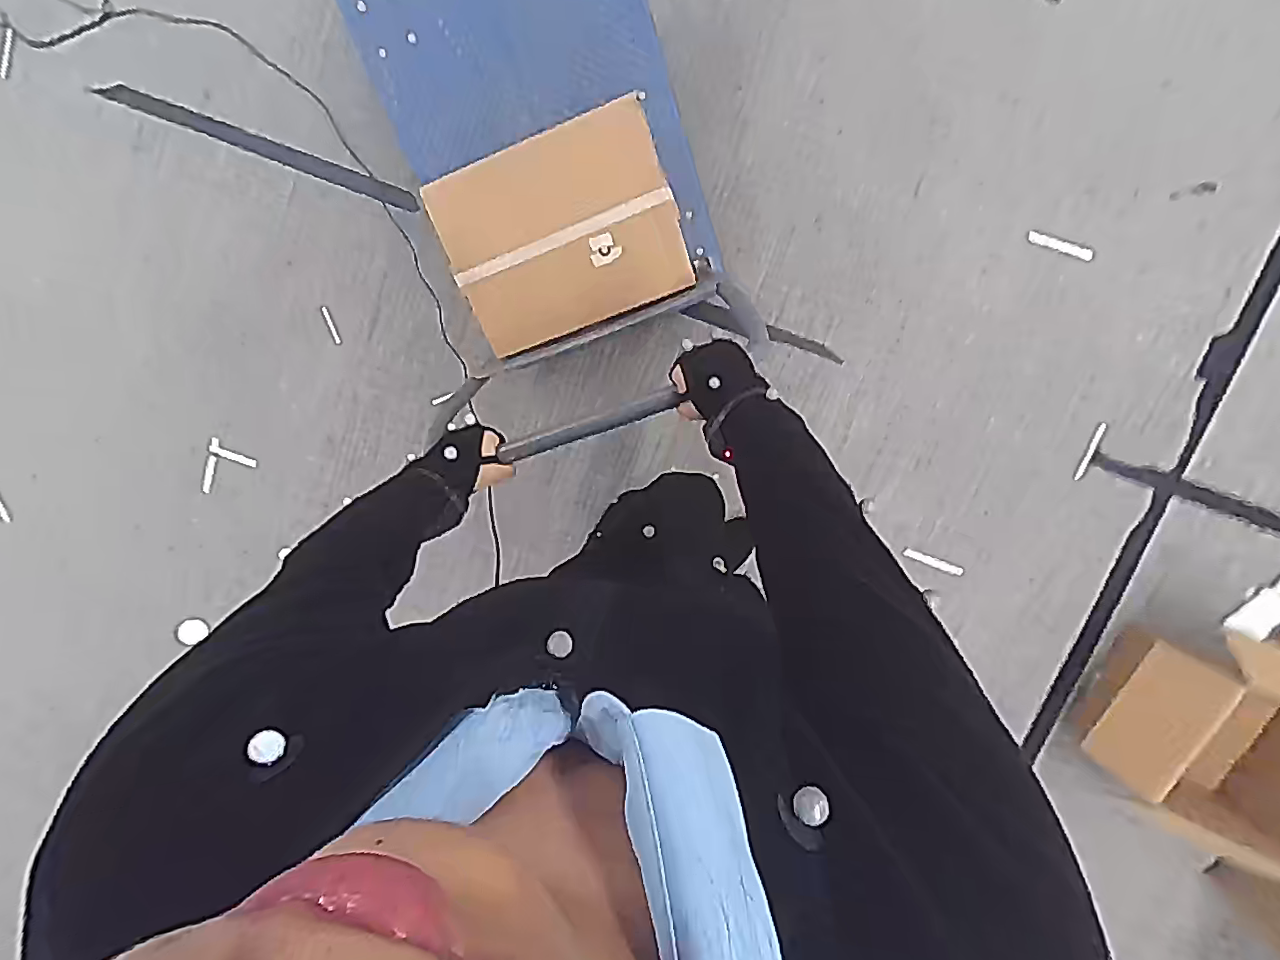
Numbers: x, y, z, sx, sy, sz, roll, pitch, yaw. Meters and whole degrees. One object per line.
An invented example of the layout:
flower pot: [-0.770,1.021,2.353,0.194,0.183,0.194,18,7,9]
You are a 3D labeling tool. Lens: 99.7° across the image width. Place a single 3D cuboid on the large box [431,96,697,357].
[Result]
large box: [-0.132,-0.489,1.105,0.408,0.320,0.320,-19,112,8]
